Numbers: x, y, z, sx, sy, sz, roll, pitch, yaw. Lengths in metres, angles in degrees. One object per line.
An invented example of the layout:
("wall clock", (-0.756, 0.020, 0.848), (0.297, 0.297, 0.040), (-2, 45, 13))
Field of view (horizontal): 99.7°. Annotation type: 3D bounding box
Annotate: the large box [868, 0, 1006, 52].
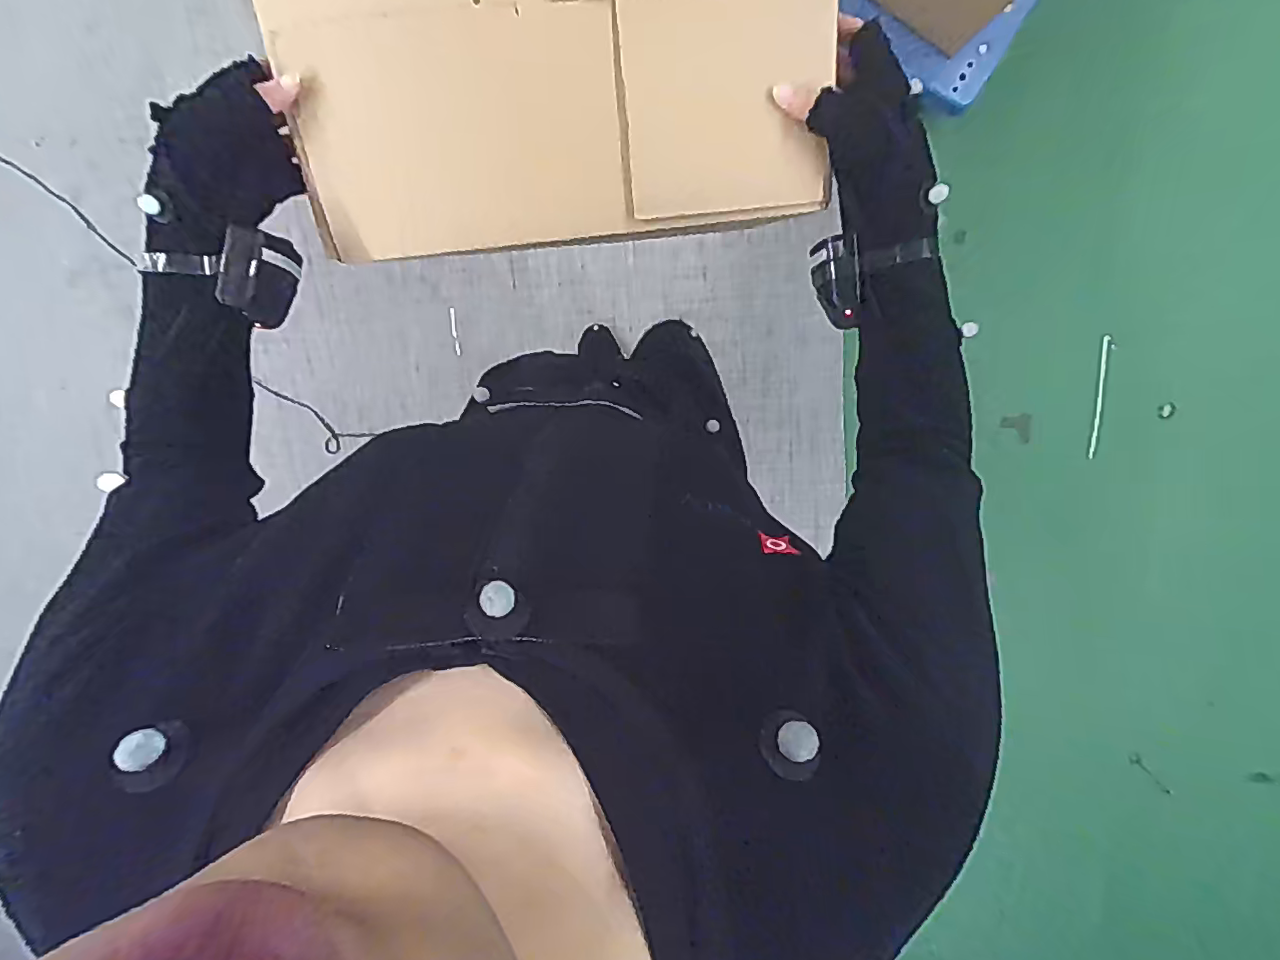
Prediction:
("large box", (0.506, -1.019, 0.869), (0.408, 0.320, 0.320), (30, 102, -6))
